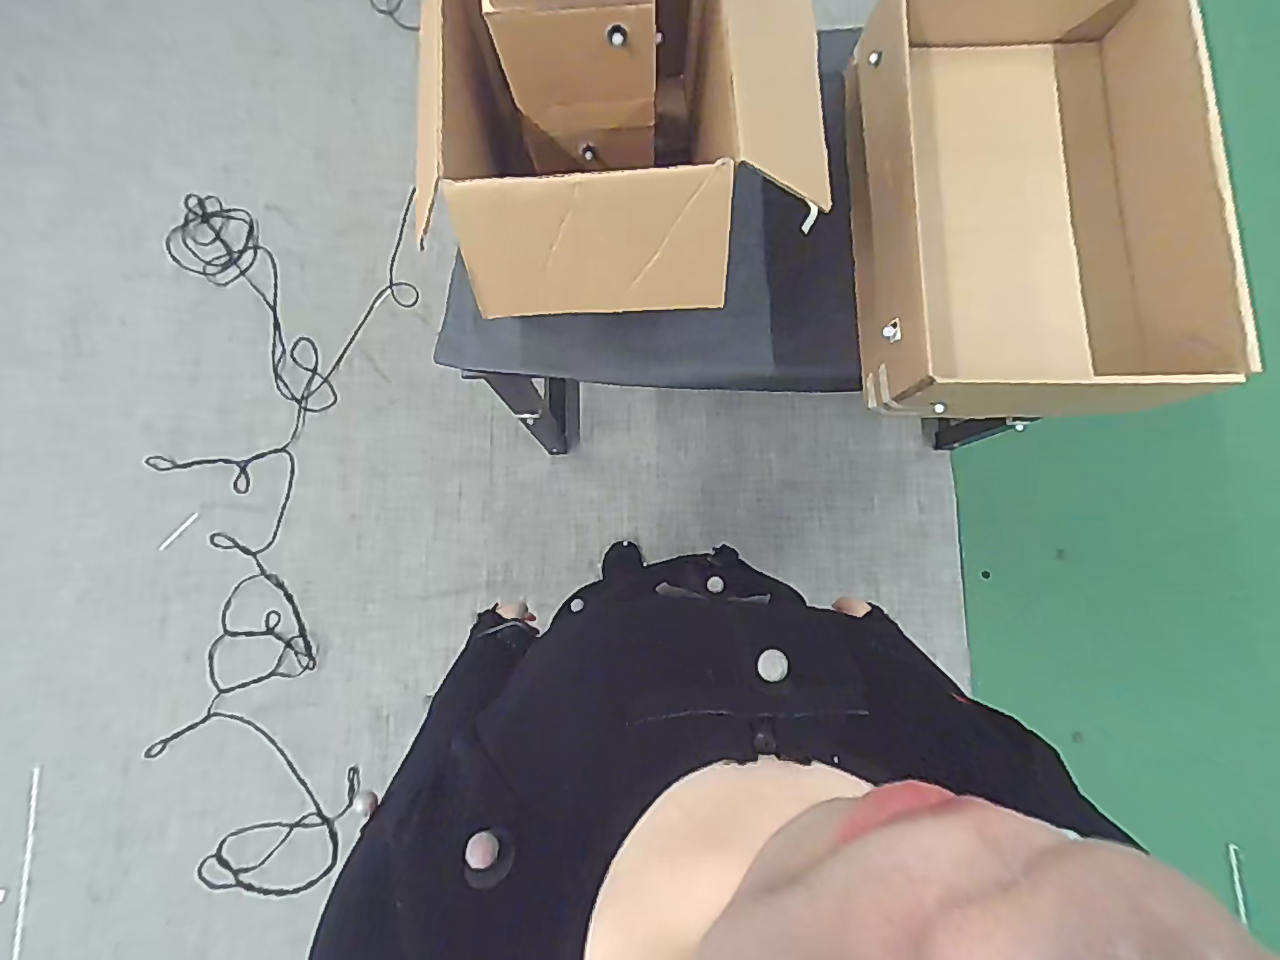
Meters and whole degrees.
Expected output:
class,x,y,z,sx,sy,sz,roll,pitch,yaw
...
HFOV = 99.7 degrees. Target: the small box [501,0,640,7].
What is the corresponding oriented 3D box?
class,x,y,z,sx,sy,sz,roll,pitch,yaw
small box,-0.072,-0.565,0.465,0.168,0.176,0.179,-1,85,1
